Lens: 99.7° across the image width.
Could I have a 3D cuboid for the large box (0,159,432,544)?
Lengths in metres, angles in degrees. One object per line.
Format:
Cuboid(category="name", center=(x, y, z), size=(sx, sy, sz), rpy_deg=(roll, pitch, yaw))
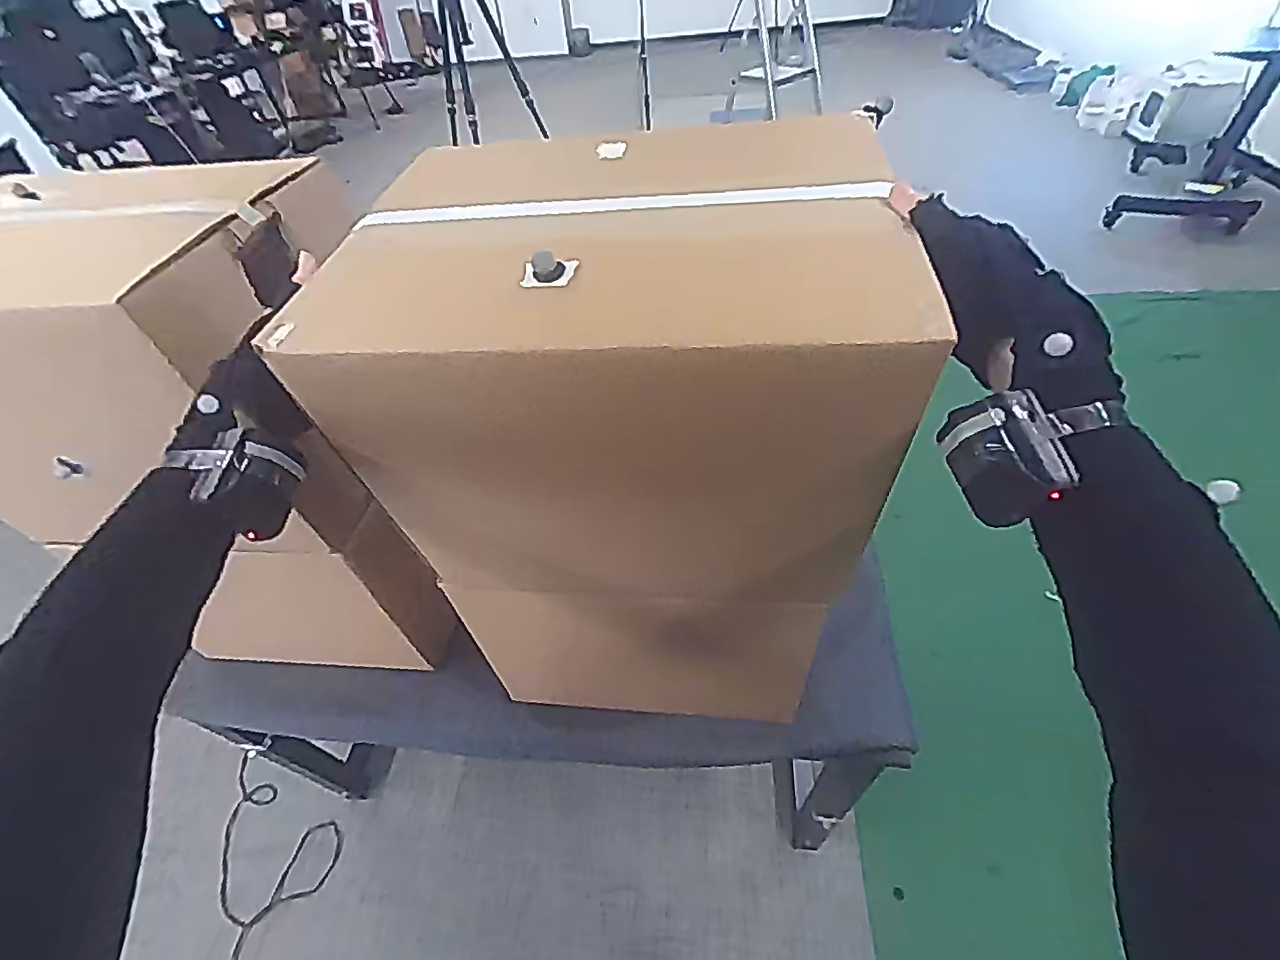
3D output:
Cuboid(category="large box", center=(-0.528, -0.138, 0.628), size=(0.408, 0.320, 0.320), rpy_deg=(0, 47, 8))
